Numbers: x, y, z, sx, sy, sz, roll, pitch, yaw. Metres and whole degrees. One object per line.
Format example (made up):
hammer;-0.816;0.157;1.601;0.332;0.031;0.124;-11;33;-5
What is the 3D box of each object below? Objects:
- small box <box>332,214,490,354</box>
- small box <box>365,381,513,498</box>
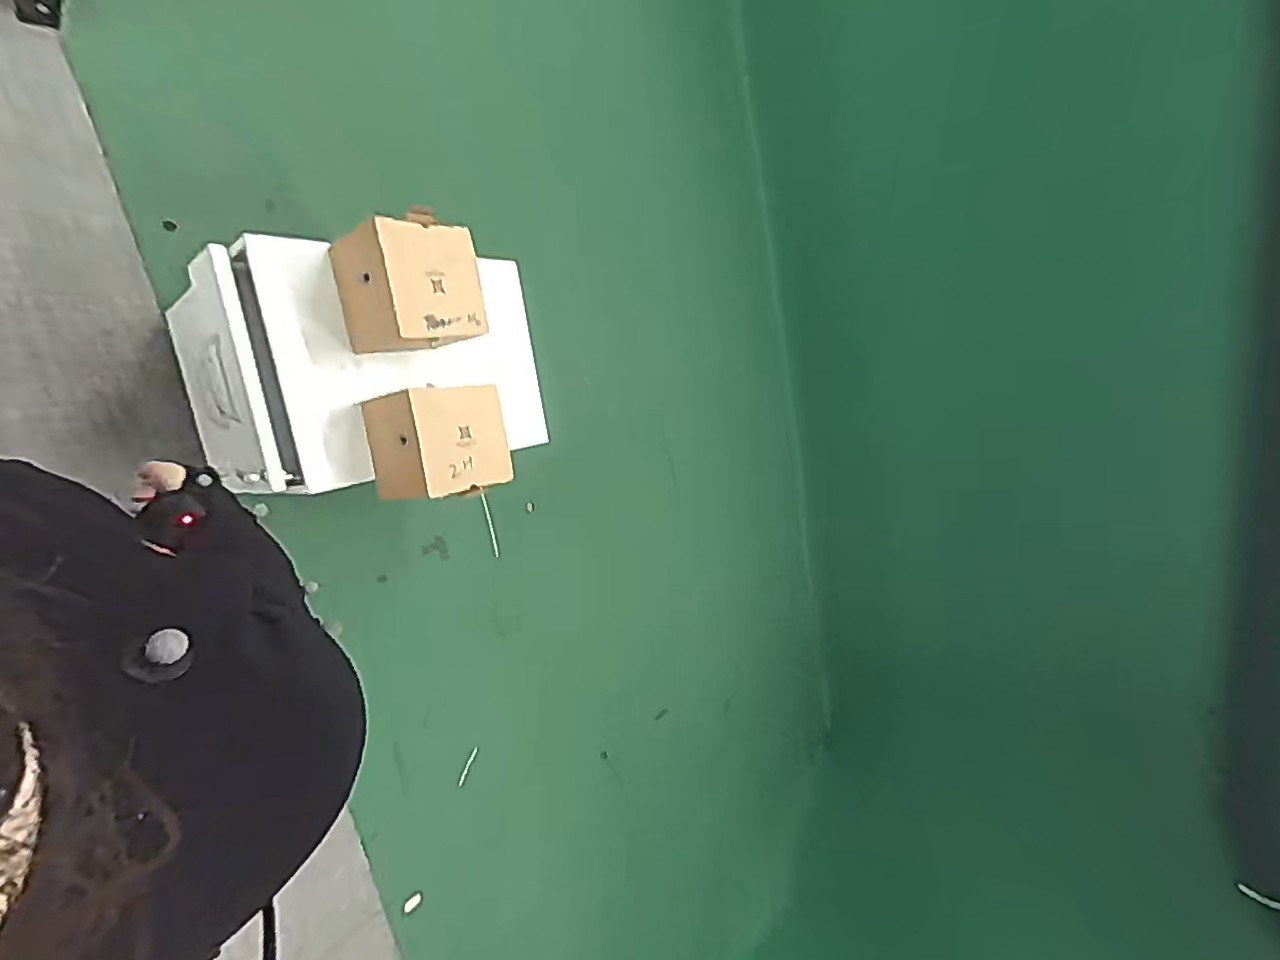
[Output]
small box;-0.380;-0.314;0.895;0.168;0.176;0.179;-21;106;-49
small box;-0.347;-0.068;0.929;0.168;0.176;0.179;-16;102;-49
